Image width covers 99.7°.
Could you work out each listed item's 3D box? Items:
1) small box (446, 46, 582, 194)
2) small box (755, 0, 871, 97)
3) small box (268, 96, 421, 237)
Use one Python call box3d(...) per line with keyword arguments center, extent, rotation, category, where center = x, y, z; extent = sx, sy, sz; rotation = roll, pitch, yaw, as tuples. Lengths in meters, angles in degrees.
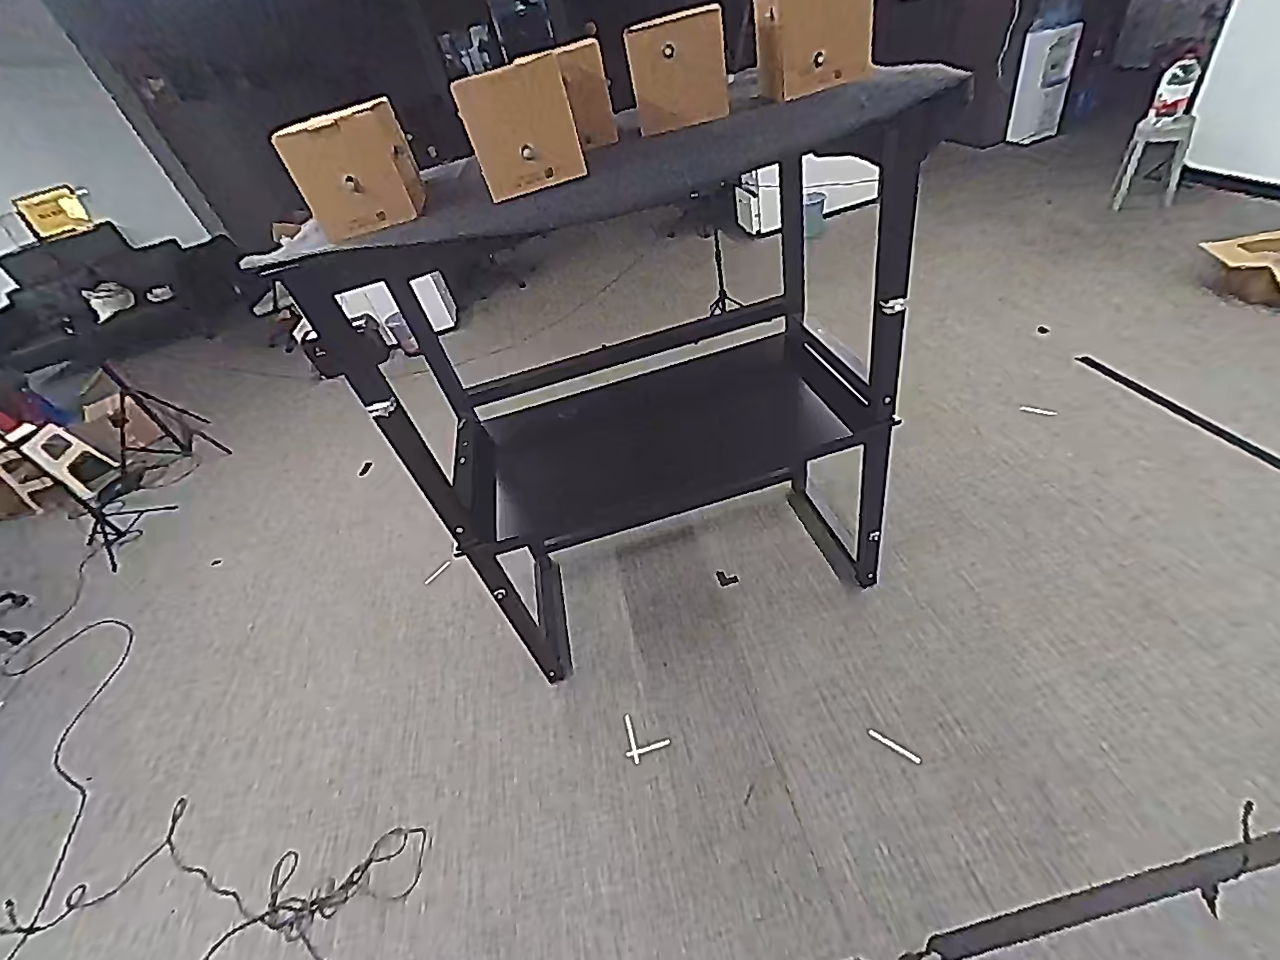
box3d(center=(-0.202, -0.601, 0.911), extent=(0.168, 0.176, 0.179), rotation=(-16, 39, 2), category="small box")
box3d(center=(0.318, -0.847, 1.021), extent=(0.168, 0.176, 0.179), rotation=(-14, 41, 4), category="small box")
box3d(center=(-0.508, -0.552, 0.961), extent=(0.168, 0.176, 0.179), rotation=(-18, 42, -3), category="small box")
